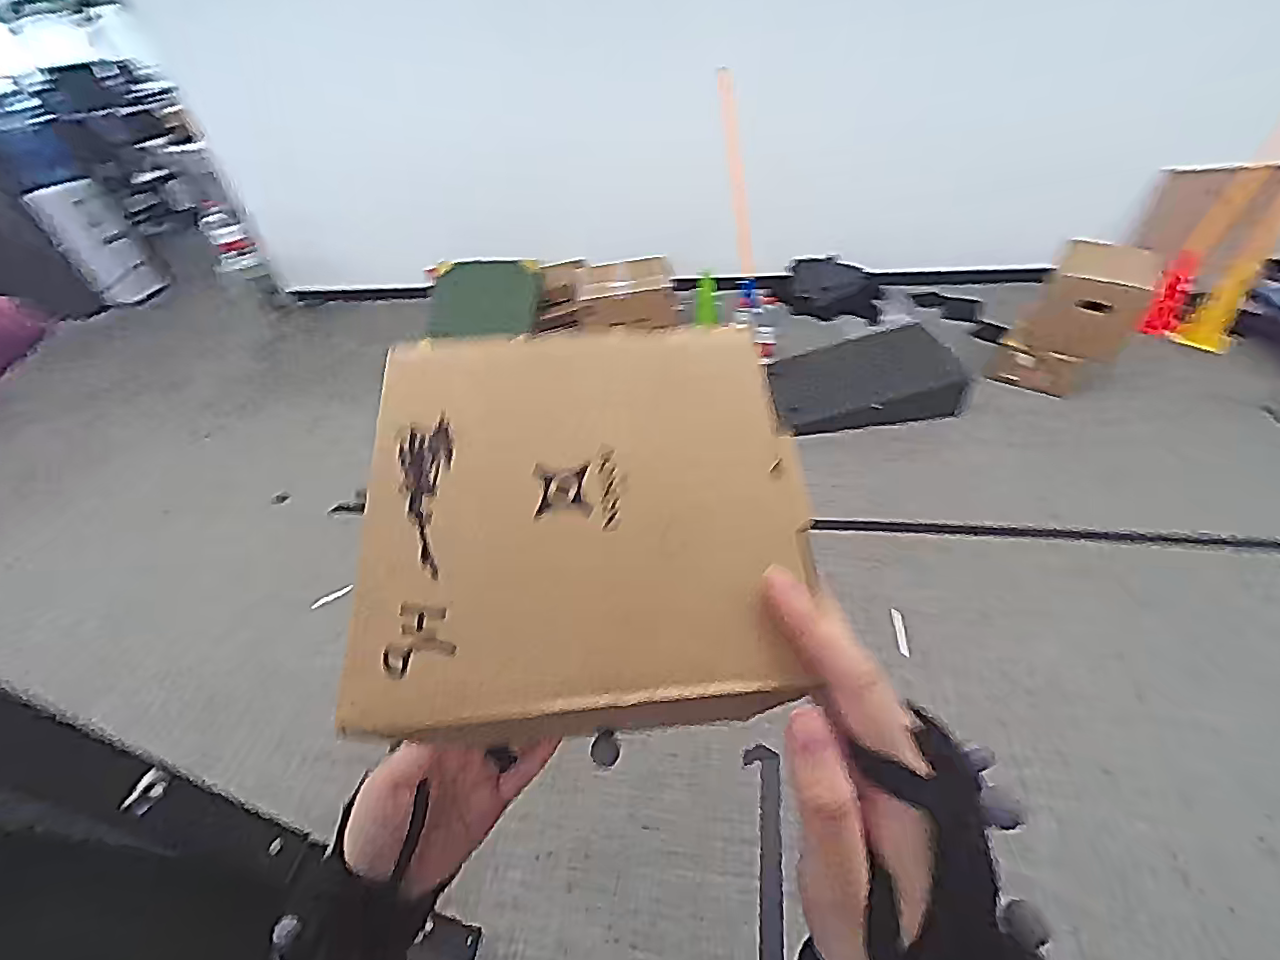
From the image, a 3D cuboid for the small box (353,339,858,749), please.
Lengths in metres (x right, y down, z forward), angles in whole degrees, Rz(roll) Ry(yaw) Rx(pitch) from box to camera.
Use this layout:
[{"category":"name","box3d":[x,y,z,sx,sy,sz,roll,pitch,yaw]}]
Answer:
[{"category":"small box","box3d":[-0.018,0.045,0.291,0.179,0.176,0.168,-3,60,-5]}]
